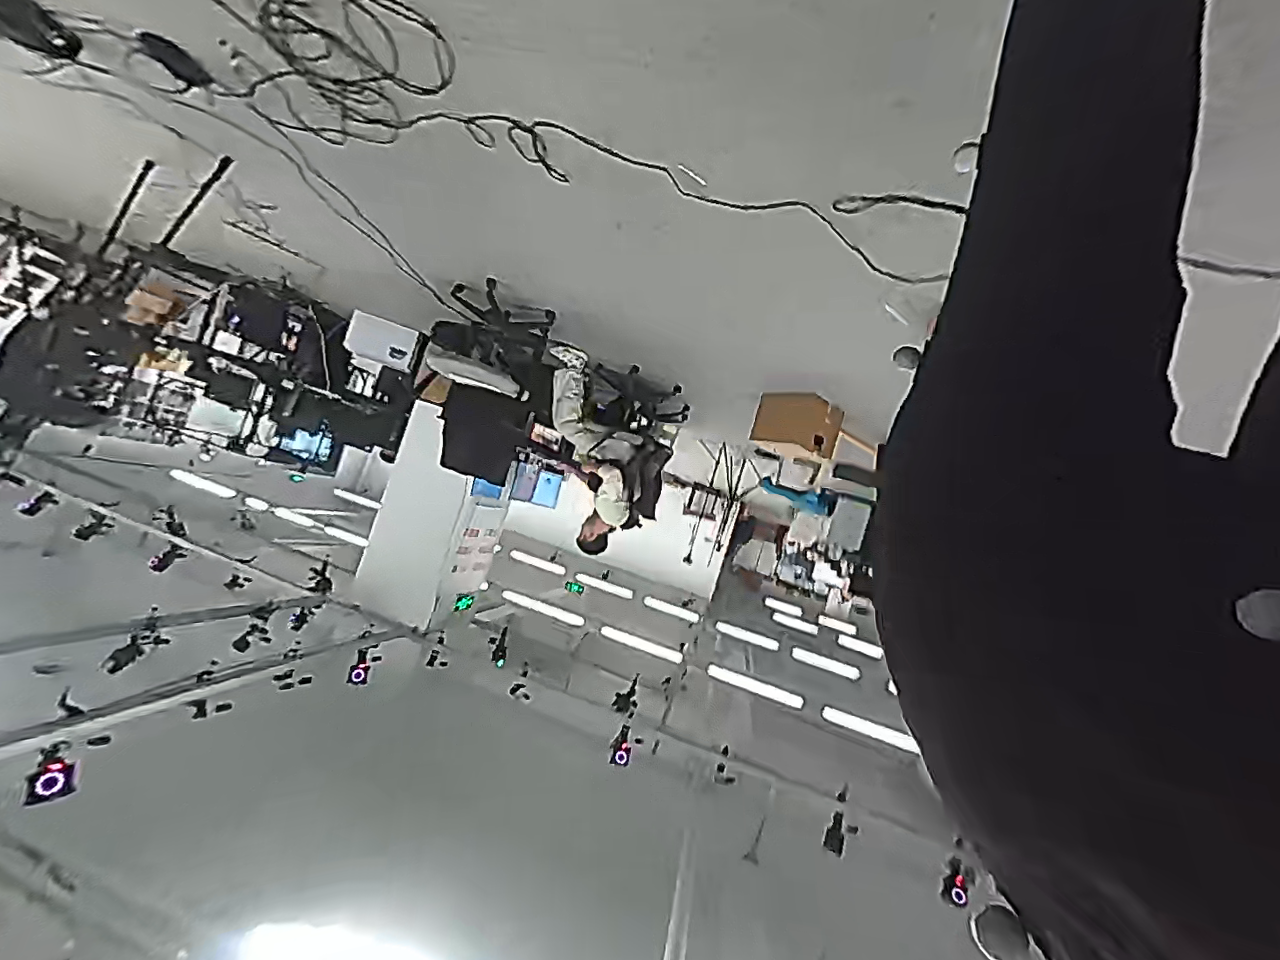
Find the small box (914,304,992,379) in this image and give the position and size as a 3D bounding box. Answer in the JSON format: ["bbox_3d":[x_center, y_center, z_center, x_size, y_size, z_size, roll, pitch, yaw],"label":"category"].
[{"bbox_3d":[1.024,-0.451,1.770,0.168,0.176,0.179,16,177,19],"label":"small box"}]
